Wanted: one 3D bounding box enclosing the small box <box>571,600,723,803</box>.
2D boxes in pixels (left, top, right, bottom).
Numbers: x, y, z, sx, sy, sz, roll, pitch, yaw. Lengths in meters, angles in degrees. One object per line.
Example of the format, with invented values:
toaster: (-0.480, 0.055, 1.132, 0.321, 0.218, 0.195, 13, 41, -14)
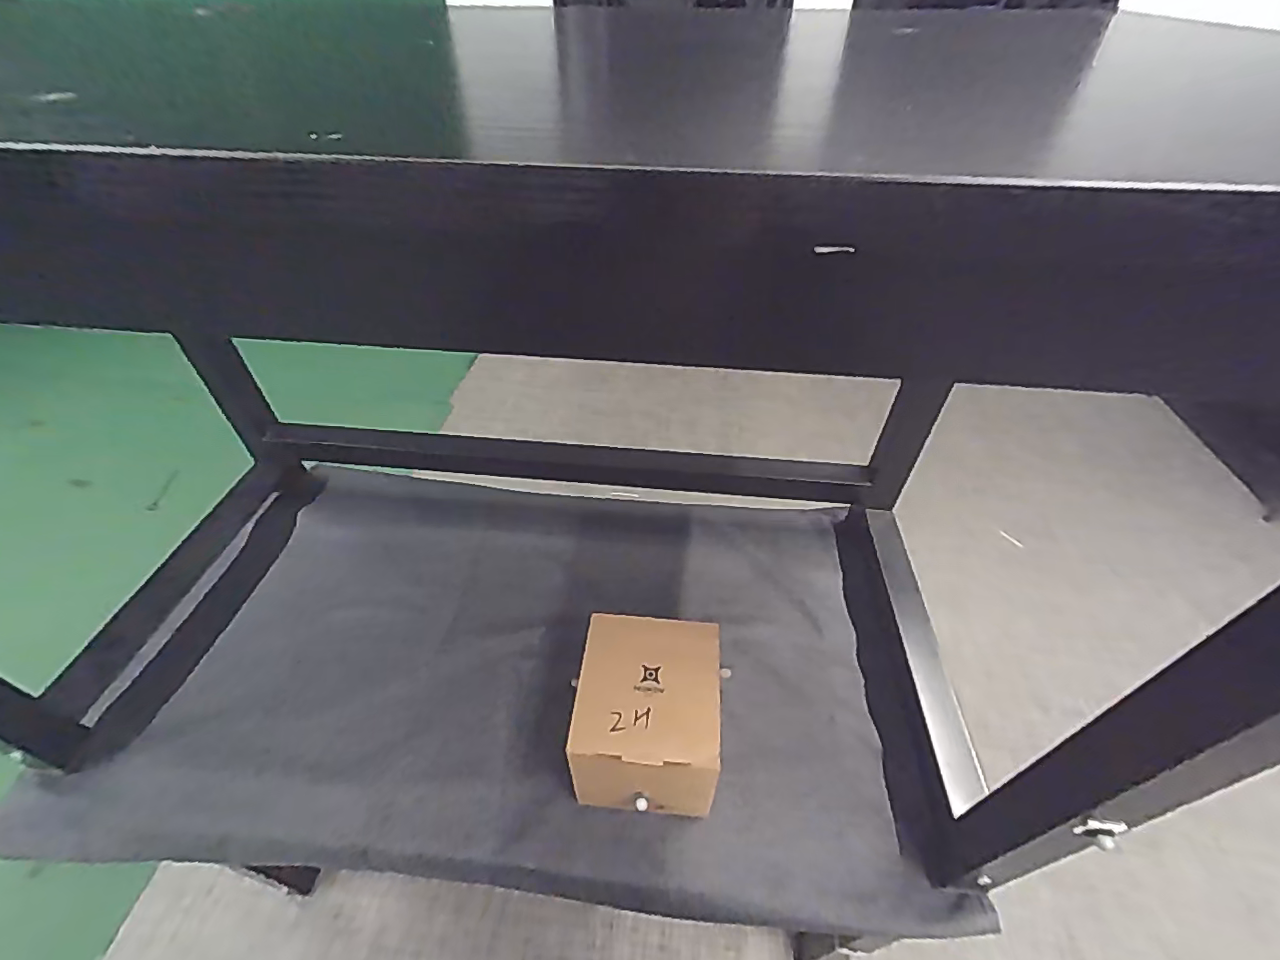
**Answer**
small box: (0.014, 0.280, 0.689, 0.168, 0.176, 0.179, 4, 43, 5)
